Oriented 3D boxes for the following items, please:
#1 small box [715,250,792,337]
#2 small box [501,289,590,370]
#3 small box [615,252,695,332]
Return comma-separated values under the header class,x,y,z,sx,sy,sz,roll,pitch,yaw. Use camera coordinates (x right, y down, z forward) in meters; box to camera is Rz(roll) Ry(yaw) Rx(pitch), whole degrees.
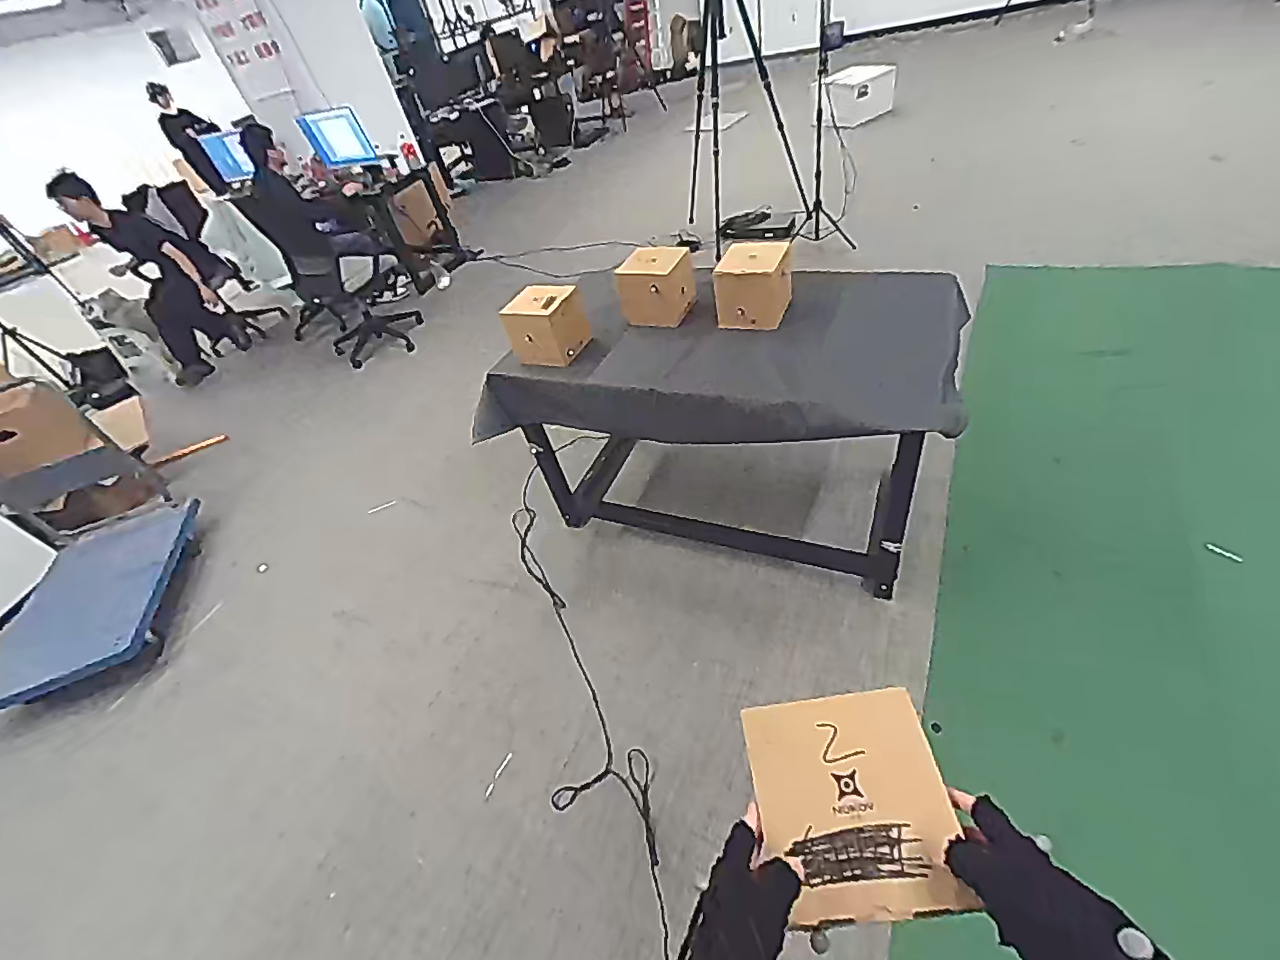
class,x,y,z,sx,sy,sz,roll,pitch,yaw
small box,0.319,-0.522,1.506,0.168,0.176,0.179,11,50,25
small box,-0.268,-0.439,1.583,0.179,0.176,0.168,10,48,25
small box,0.054,-0.560,1.617,0.179,0.176,0.168,12,50,26
